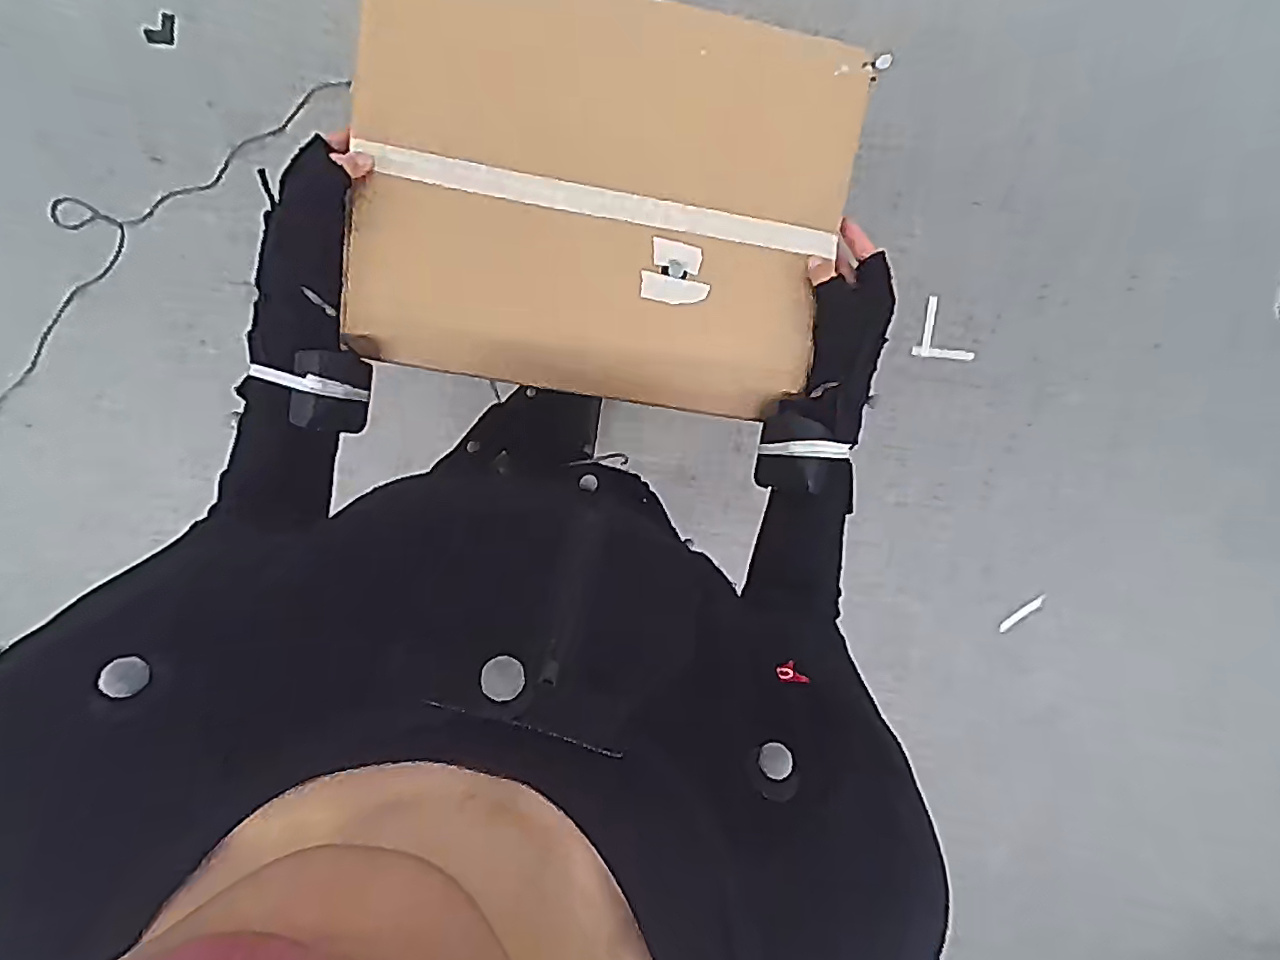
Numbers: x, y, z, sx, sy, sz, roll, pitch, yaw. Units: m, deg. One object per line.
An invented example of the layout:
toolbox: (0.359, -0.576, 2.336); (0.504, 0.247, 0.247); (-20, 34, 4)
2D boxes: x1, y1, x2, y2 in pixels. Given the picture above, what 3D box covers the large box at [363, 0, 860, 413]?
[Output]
large box: (-0.042, -0.262, 0.610); (0.408, 0.320, 0.320); (8, 101, -7)
